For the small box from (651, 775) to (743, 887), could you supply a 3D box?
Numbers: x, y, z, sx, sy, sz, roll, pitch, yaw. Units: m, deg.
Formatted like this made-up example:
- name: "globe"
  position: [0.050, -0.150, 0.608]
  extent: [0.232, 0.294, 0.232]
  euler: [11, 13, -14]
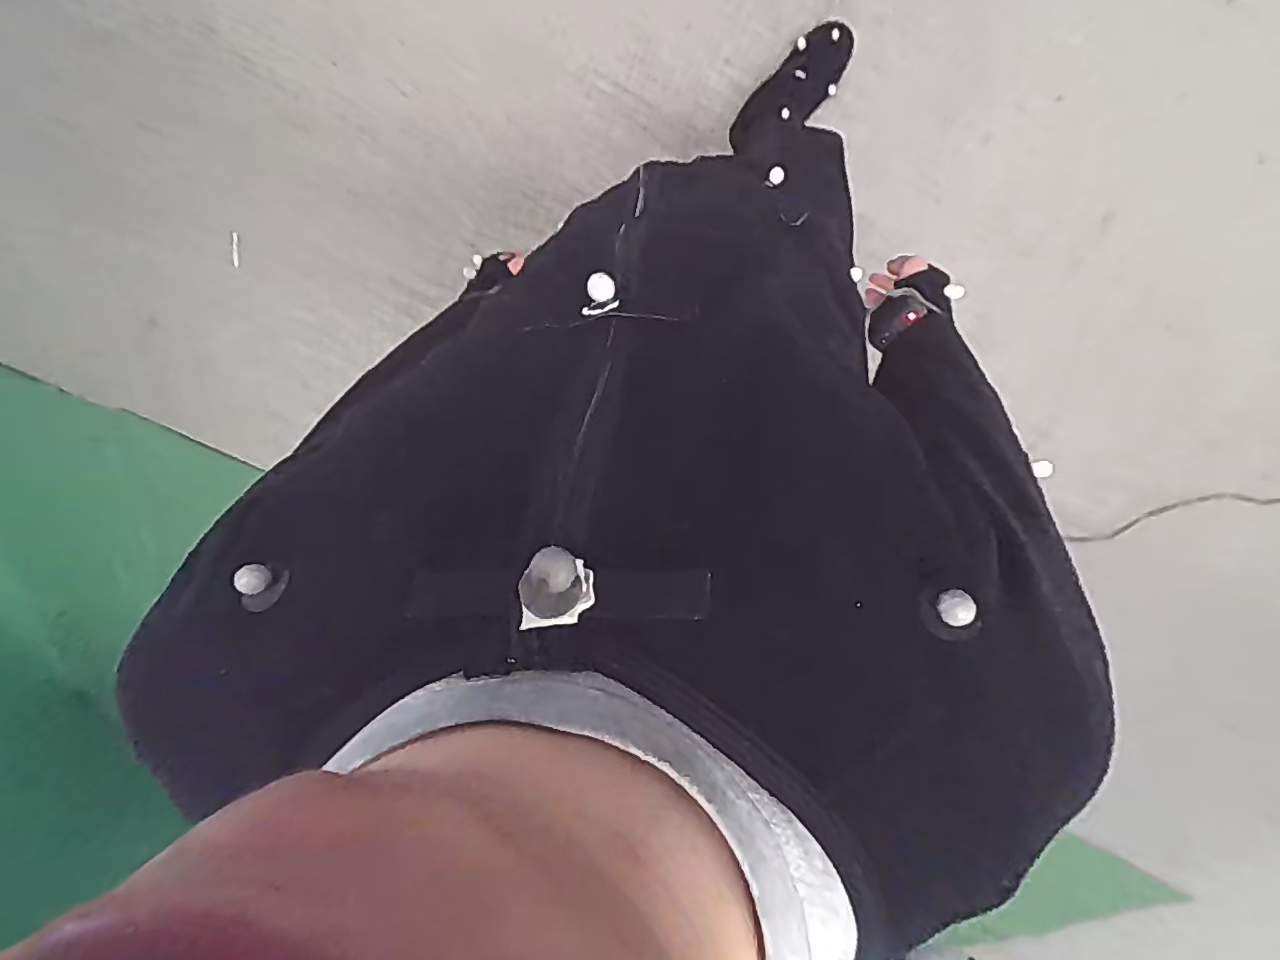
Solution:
- name: "small box"
  position: [0.147, 0.875, 1.354]
  extent: [0.168, 0.176, 0.179]
  euler: [26, 128, -4]
